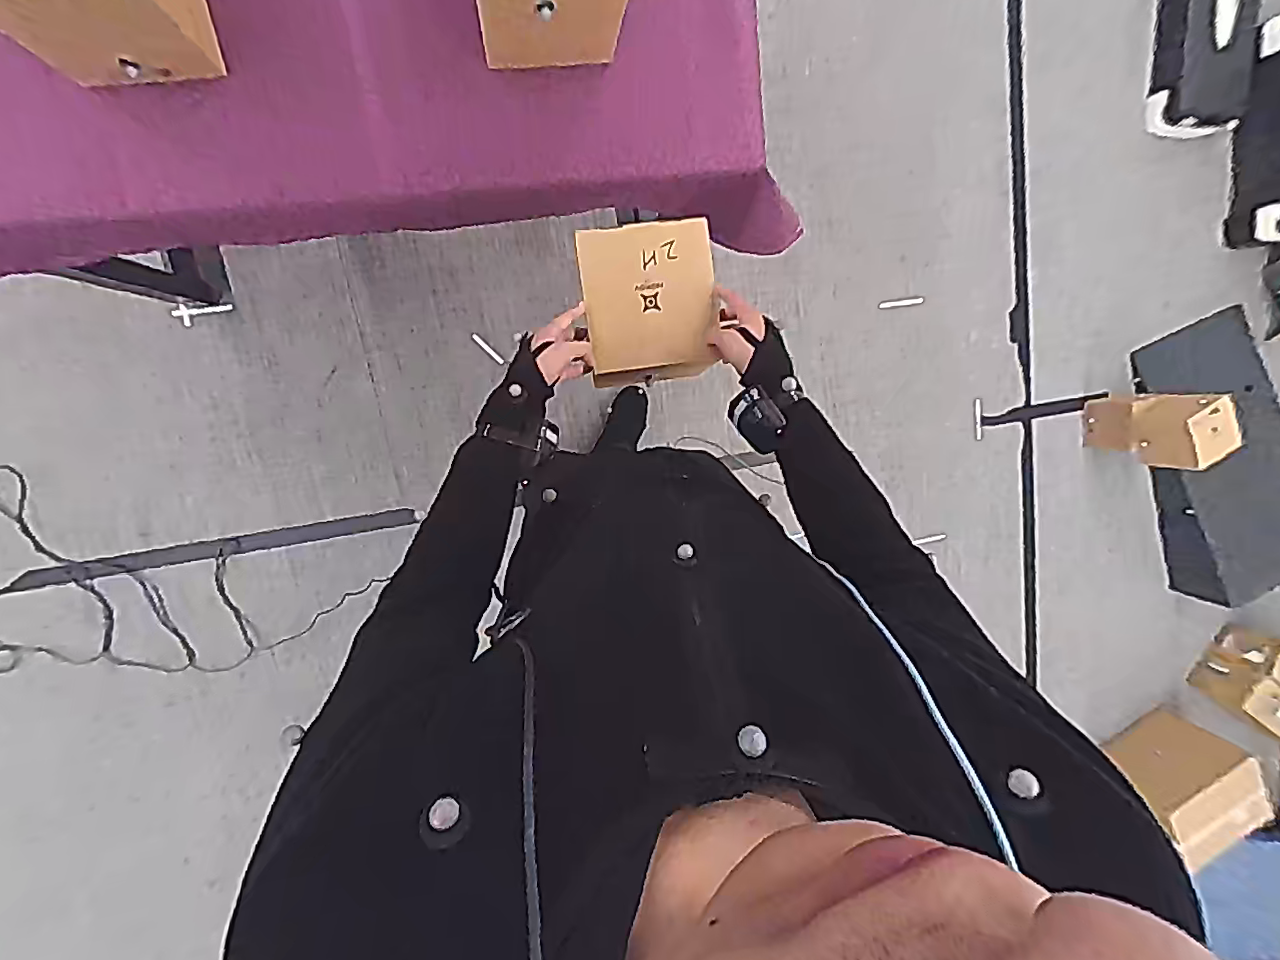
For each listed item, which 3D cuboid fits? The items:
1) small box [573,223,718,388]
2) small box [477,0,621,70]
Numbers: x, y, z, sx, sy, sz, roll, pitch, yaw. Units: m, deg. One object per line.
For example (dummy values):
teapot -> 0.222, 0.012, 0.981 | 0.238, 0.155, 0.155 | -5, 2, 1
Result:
small box -> 0.004, -0.226, 0.745 | 0.168, 0.176, 0.179 | -8, 93, -5
small box -> -0.120, -0.642, 0.666 | 0.179, 0.176, 0.168 | -11, 101, -10
